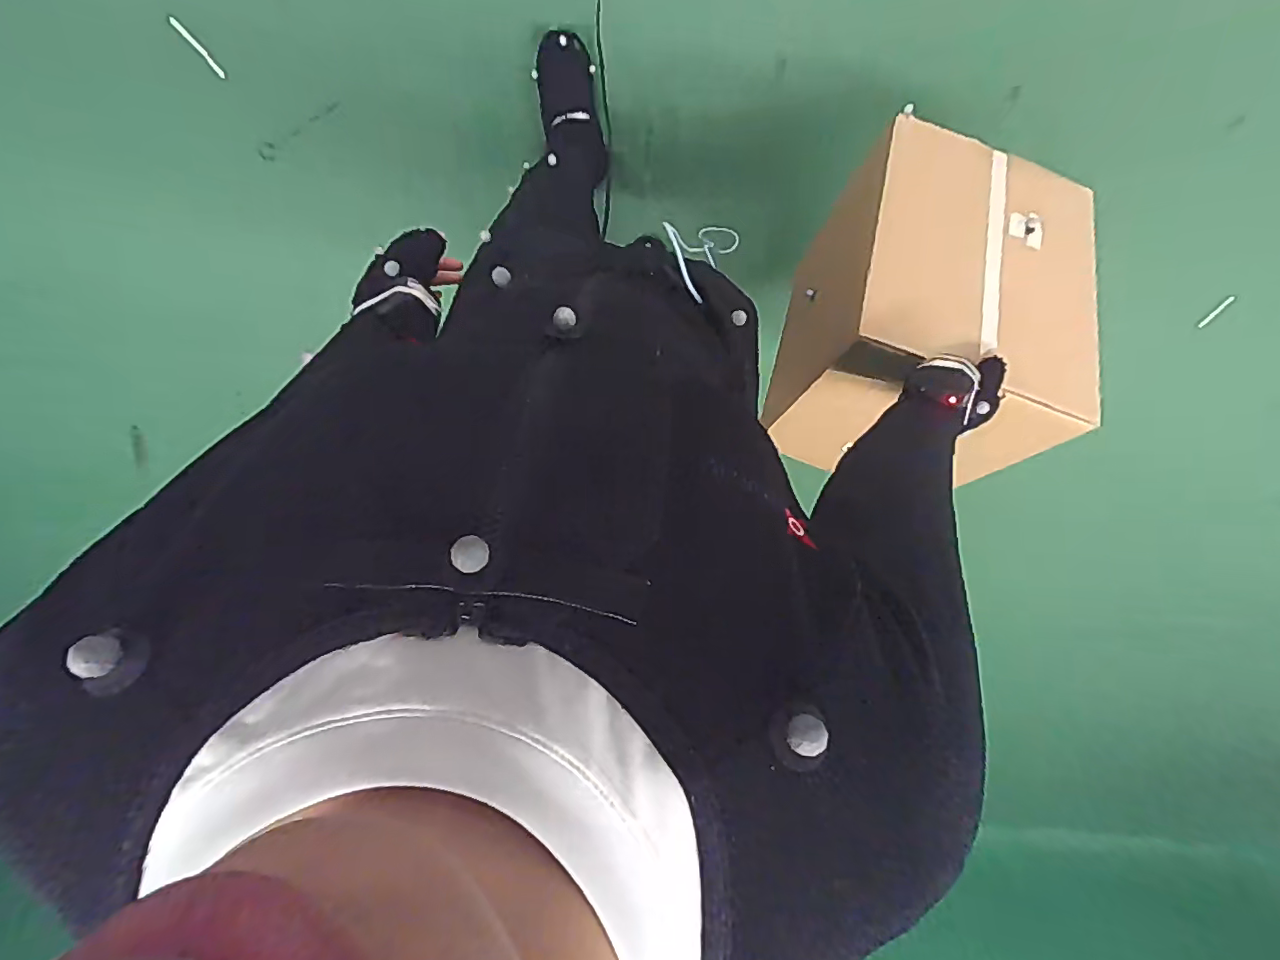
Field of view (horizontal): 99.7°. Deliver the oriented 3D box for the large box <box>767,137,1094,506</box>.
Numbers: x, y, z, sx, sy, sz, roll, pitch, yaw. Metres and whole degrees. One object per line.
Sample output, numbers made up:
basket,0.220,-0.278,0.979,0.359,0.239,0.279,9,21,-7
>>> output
large box,0.427,-0.223,0.850,0.320,0.408,0.320,20,157,-4
